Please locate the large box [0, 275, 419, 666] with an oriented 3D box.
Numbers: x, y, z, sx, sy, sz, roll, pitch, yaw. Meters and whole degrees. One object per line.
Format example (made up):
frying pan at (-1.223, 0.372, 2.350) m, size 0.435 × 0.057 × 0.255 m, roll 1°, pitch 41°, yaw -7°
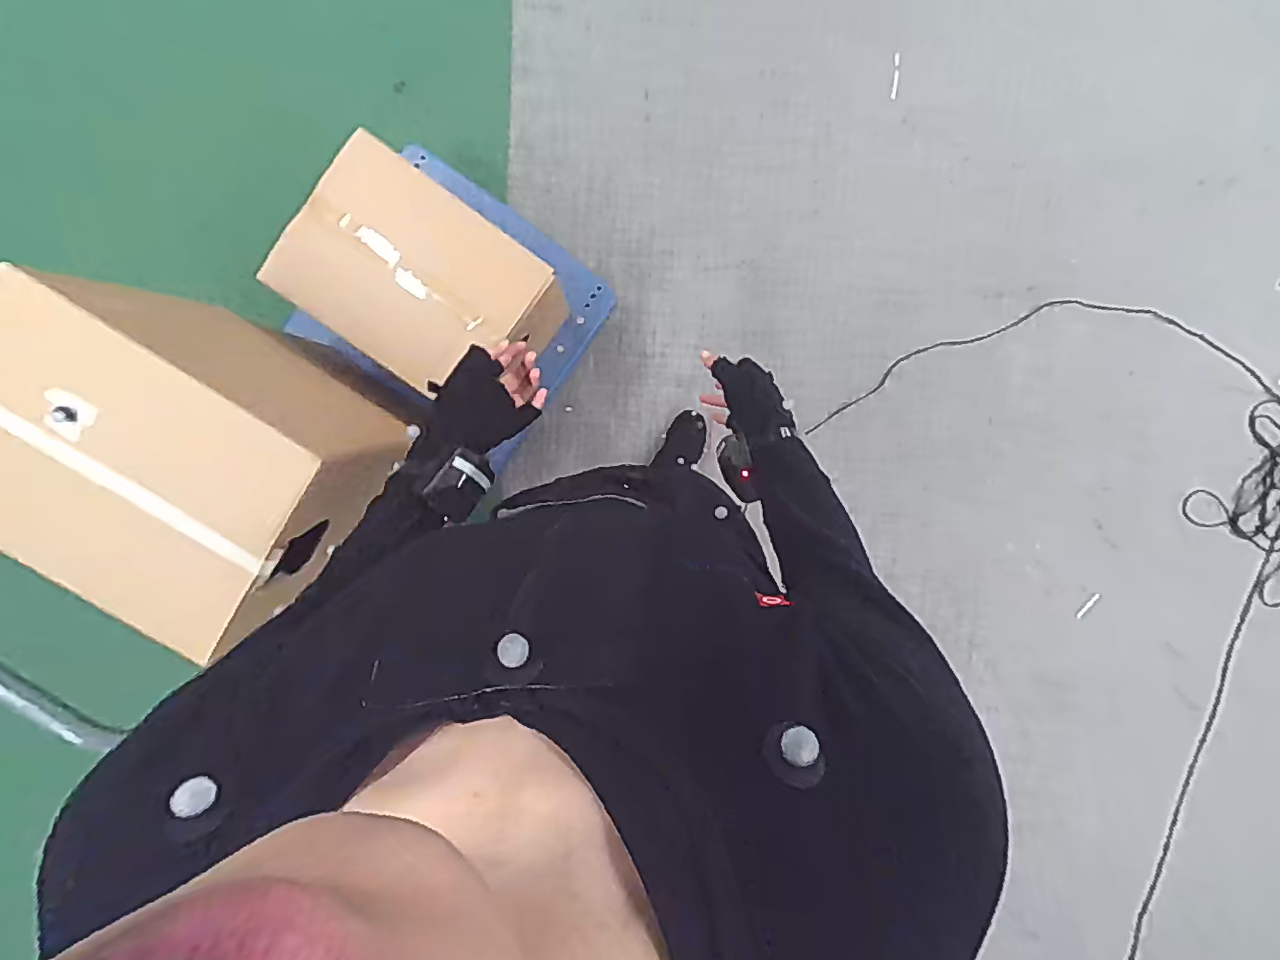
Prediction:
large box at (-0.616, -0.020, 0.776) m, size 0.408 × 0.320 × 0.320 m, roll 33°, pitch 97°, yaw -4°
